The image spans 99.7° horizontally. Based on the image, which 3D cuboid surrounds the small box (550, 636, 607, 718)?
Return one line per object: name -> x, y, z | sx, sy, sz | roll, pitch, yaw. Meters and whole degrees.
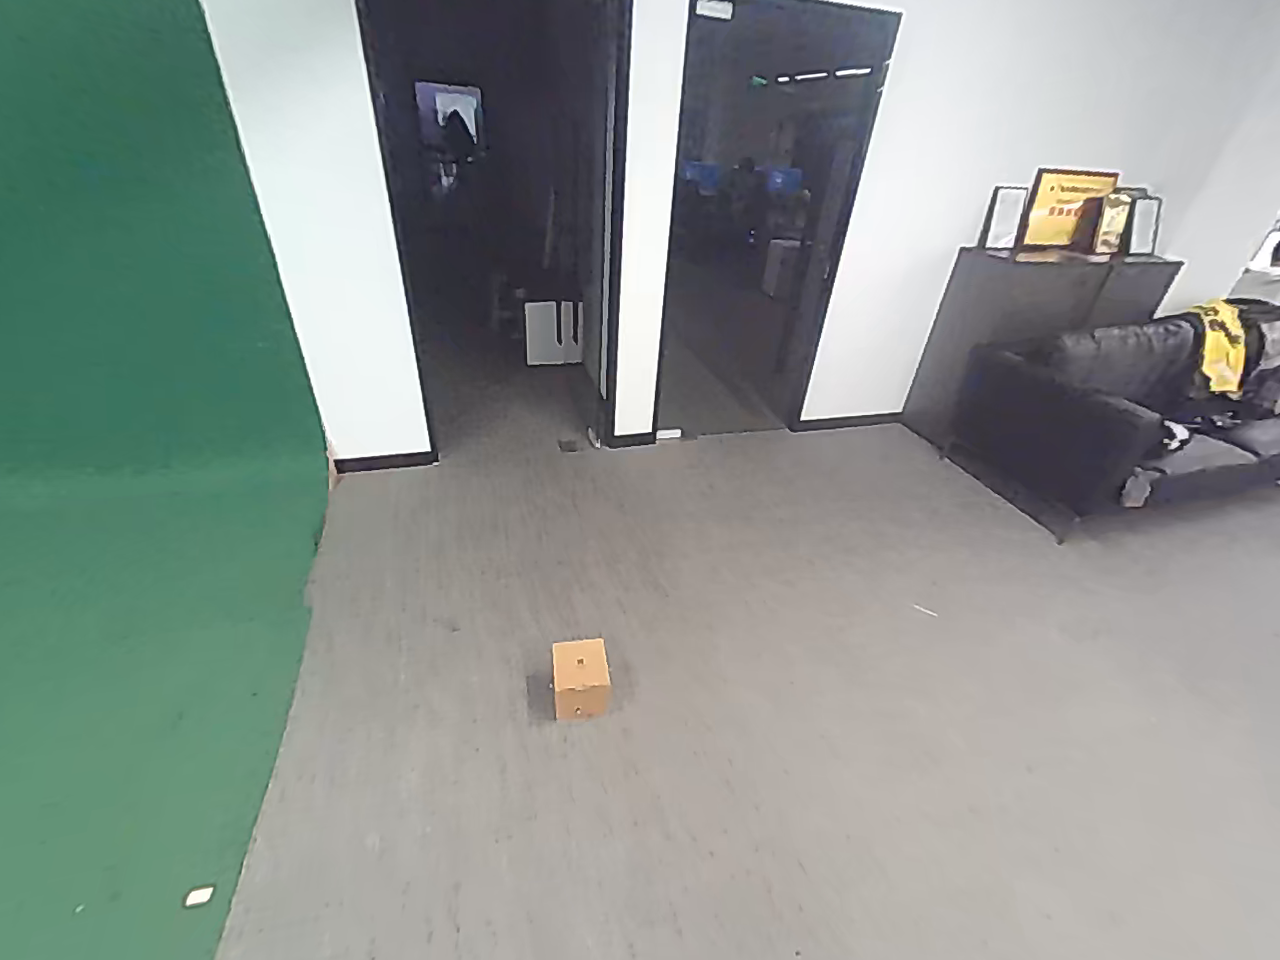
small box -> -0.199, 0.621, 1.709 | 0.168, 0.176, 0.179 | -2, 35, -11
